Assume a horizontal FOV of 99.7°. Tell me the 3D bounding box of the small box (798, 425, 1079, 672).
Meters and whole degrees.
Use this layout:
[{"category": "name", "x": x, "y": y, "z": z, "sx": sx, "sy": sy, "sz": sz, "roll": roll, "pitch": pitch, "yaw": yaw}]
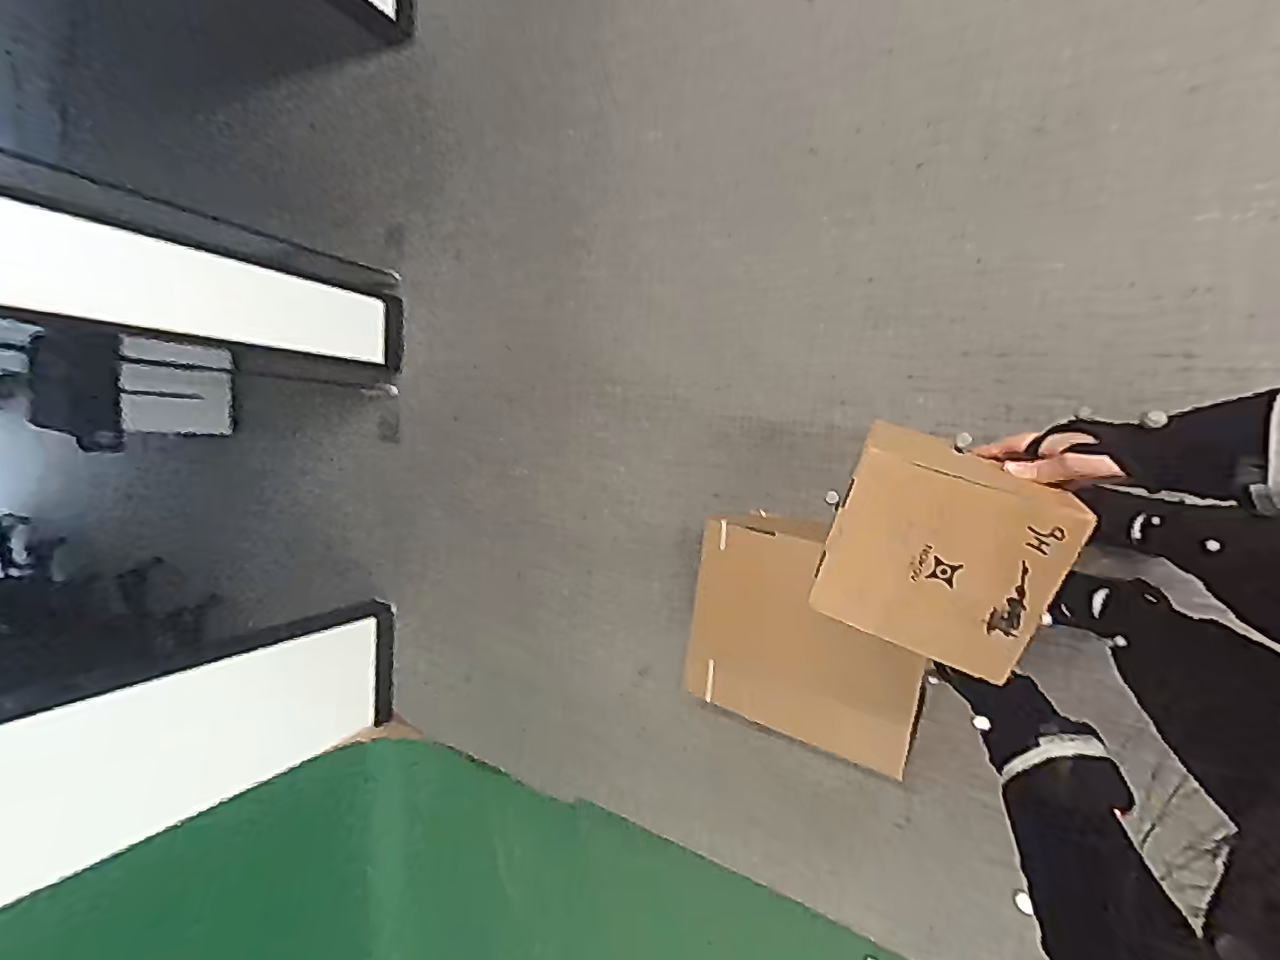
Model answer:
[{"category": "small box", "x": 0.282, "y": 0.049, "z": 0.544, "sx": 0.179, "sy": 0.176, "sz": 0.168, "roll": 21, "pitch": 112, "yaw": 21}]
